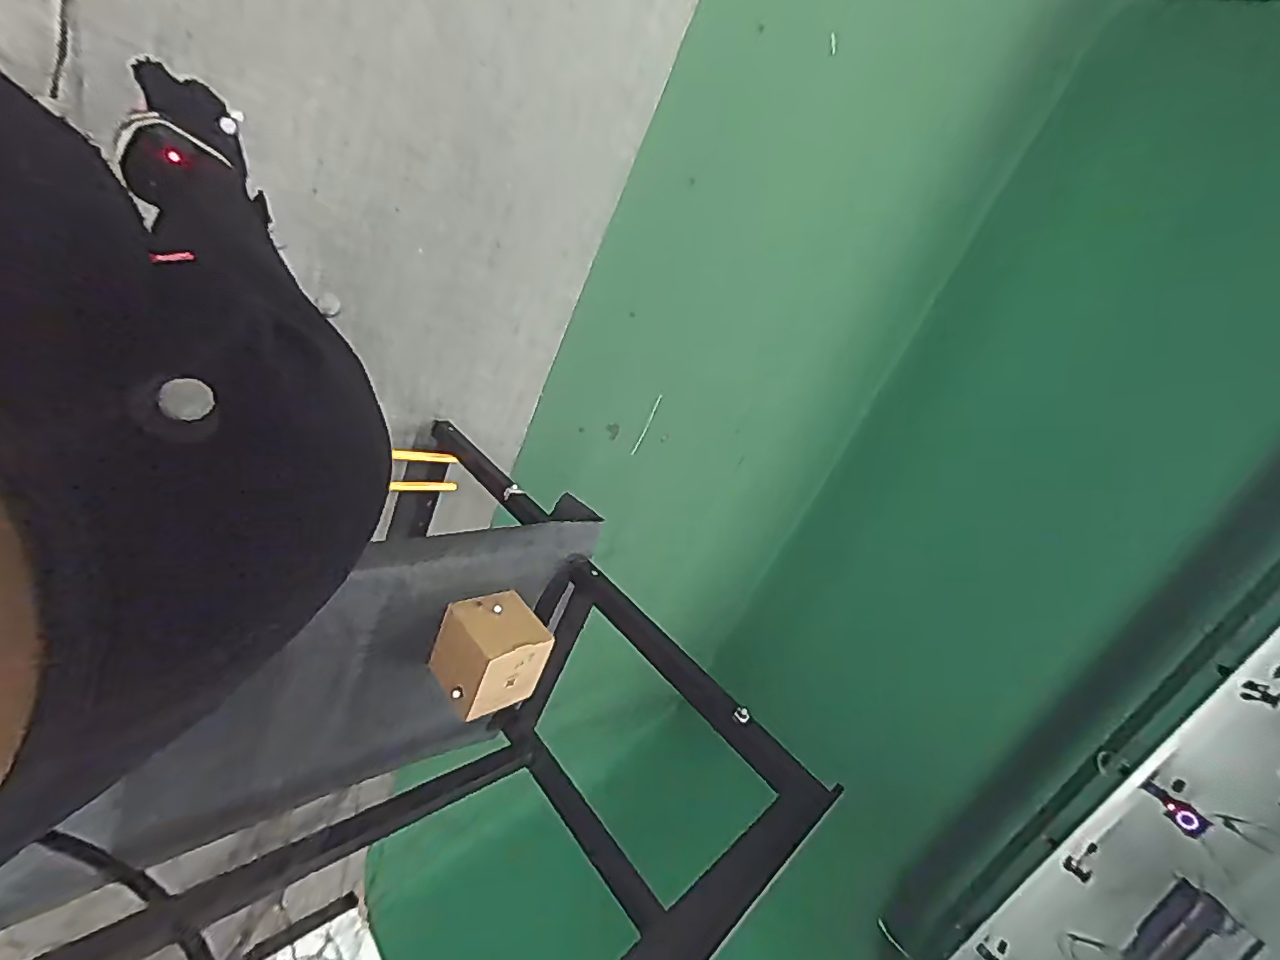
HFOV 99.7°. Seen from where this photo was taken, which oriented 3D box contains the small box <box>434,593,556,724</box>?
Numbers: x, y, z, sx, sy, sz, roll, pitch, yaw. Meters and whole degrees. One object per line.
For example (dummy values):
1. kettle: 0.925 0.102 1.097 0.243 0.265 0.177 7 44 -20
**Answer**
1. small box: -0.314 0.369 1.148 0.168 0.176 0.179 -2 122 -50
